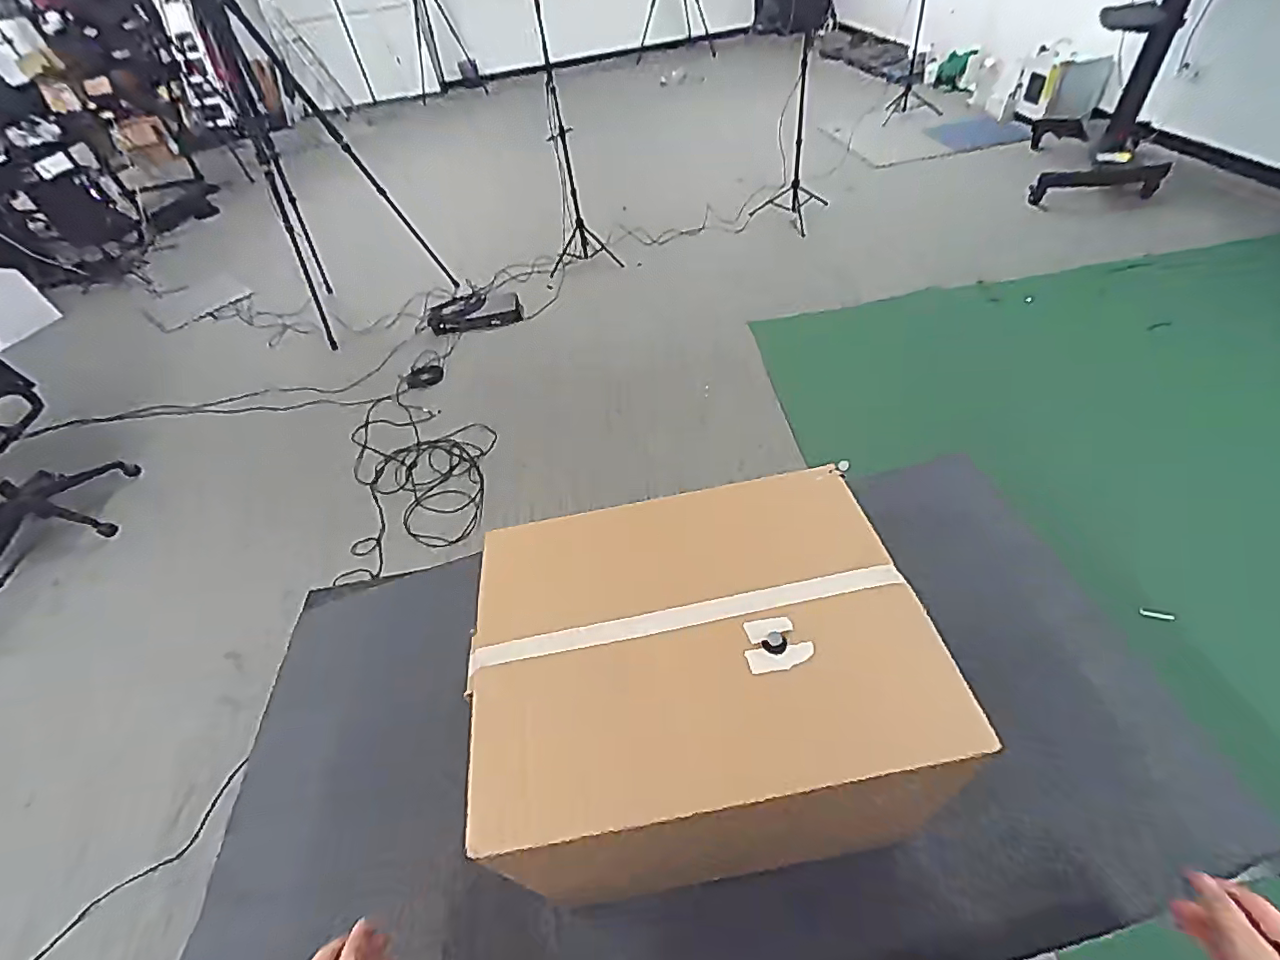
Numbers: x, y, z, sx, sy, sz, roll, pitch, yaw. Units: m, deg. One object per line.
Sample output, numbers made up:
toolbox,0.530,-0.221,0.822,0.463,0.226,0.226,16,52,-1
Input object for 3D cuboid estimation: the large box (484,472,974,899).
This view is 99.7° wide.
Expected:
large box,0.064,0.237,0.627,0.408,0.320,0.320,-11,46,-1
